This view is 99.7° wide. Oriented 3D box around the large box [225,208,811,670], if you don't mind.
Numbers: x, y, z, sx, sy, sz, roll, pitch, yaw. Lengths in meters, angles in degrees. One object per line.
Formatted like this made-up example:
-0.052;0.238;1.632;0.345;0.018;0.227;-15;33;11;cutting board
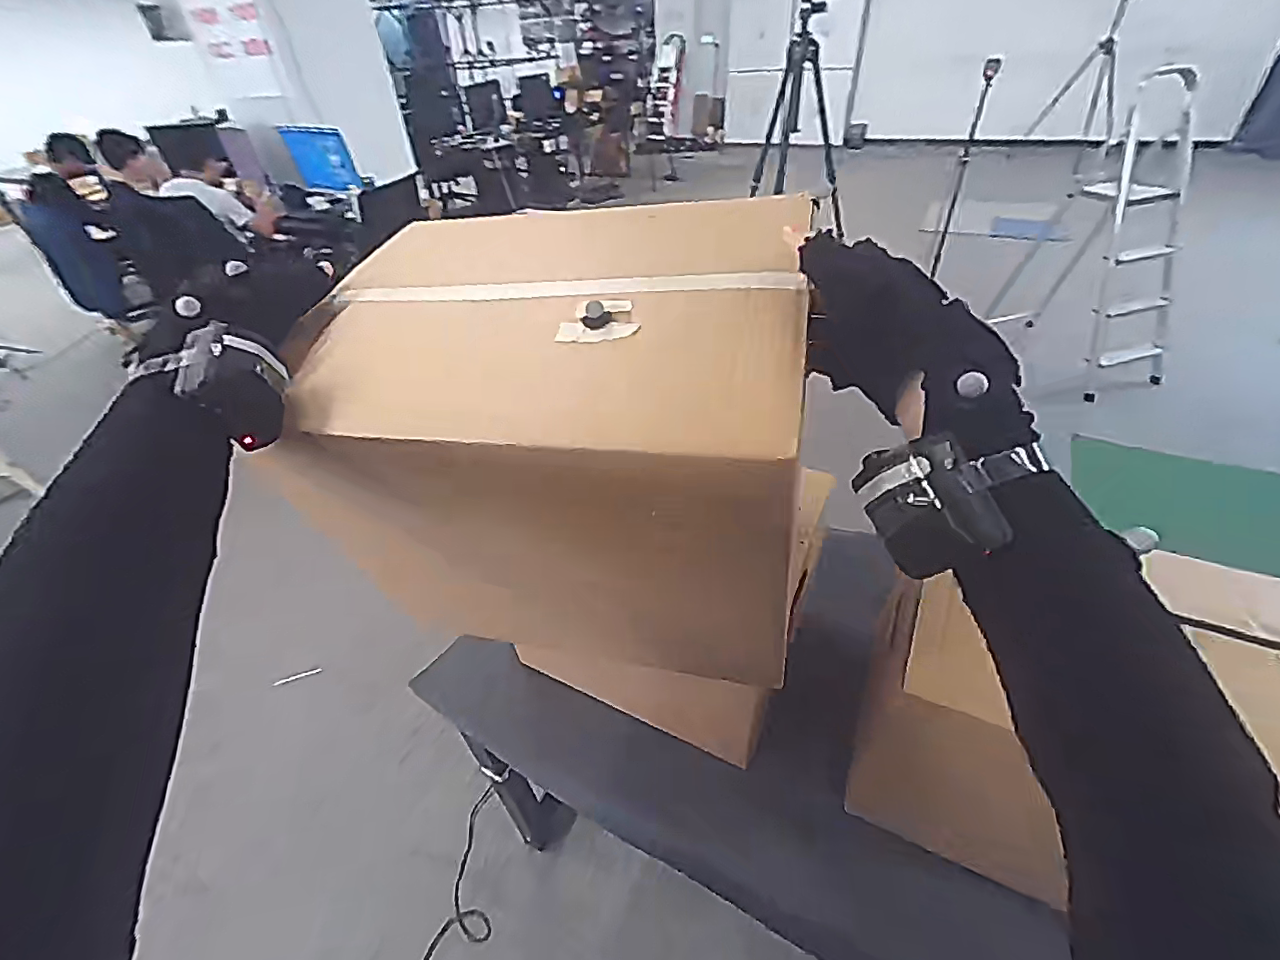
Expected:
-0.055;-0.041;0.540;0.408;0.320;0.320;5;51;15;large box
